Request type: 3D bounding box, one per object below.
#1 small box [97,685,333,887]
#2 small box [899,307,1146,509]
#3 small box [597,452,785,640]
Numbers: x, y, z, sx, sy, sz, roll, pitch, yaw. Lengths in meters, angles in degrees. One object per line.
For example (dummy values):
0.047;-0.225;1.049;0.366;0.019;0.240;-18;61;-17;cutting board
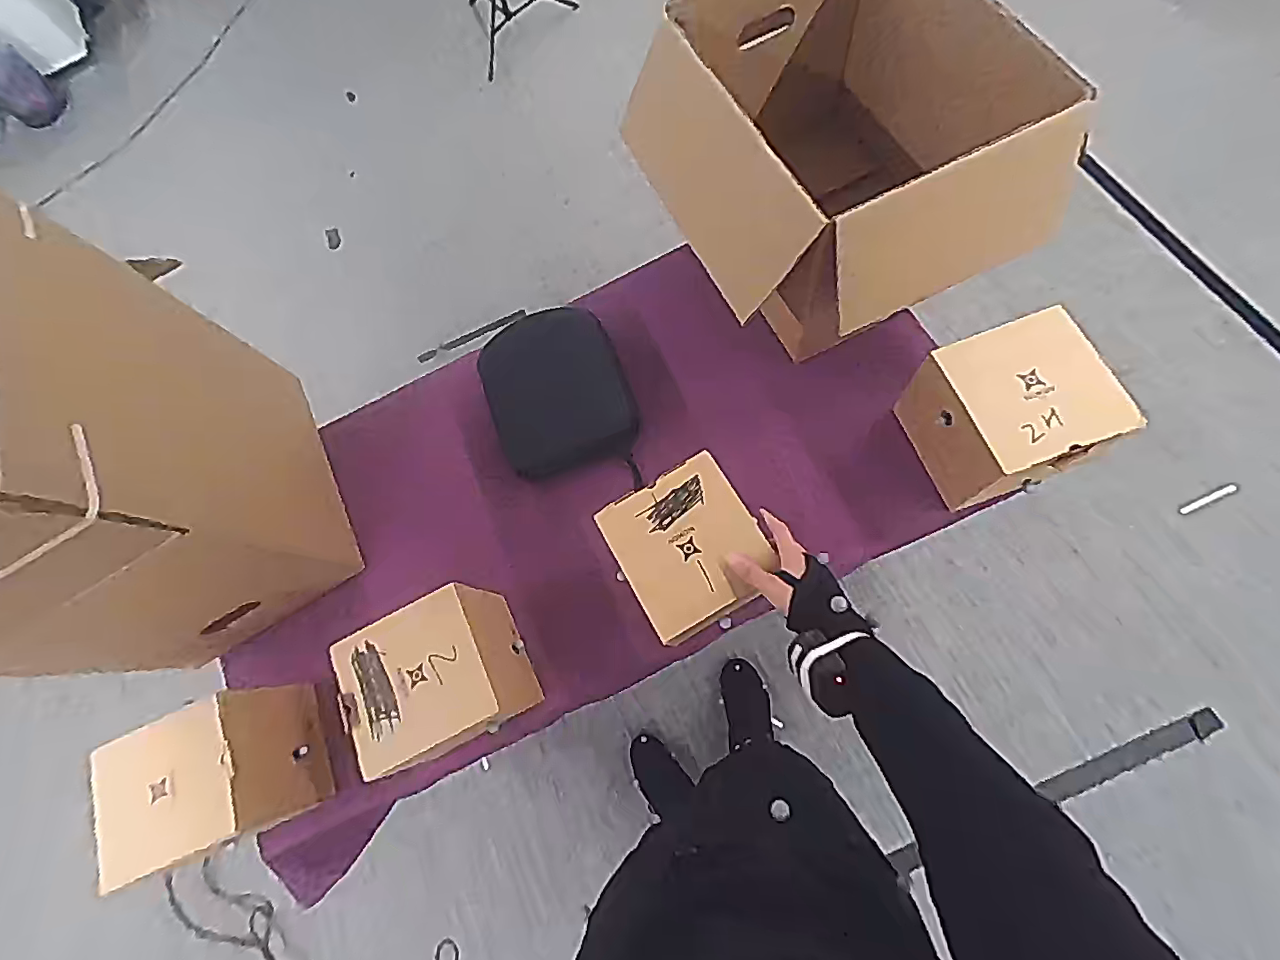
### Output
-0.555;0.389;0.721;0.179;0.176;0.168;-25;71;-1;small box
0.468;-0.083;0.701;0.168;0.176;0.179;-20;70;4;small box
0.066;0.097;0.713;0.168;0.176;0.179;-30;71;-1;small box
